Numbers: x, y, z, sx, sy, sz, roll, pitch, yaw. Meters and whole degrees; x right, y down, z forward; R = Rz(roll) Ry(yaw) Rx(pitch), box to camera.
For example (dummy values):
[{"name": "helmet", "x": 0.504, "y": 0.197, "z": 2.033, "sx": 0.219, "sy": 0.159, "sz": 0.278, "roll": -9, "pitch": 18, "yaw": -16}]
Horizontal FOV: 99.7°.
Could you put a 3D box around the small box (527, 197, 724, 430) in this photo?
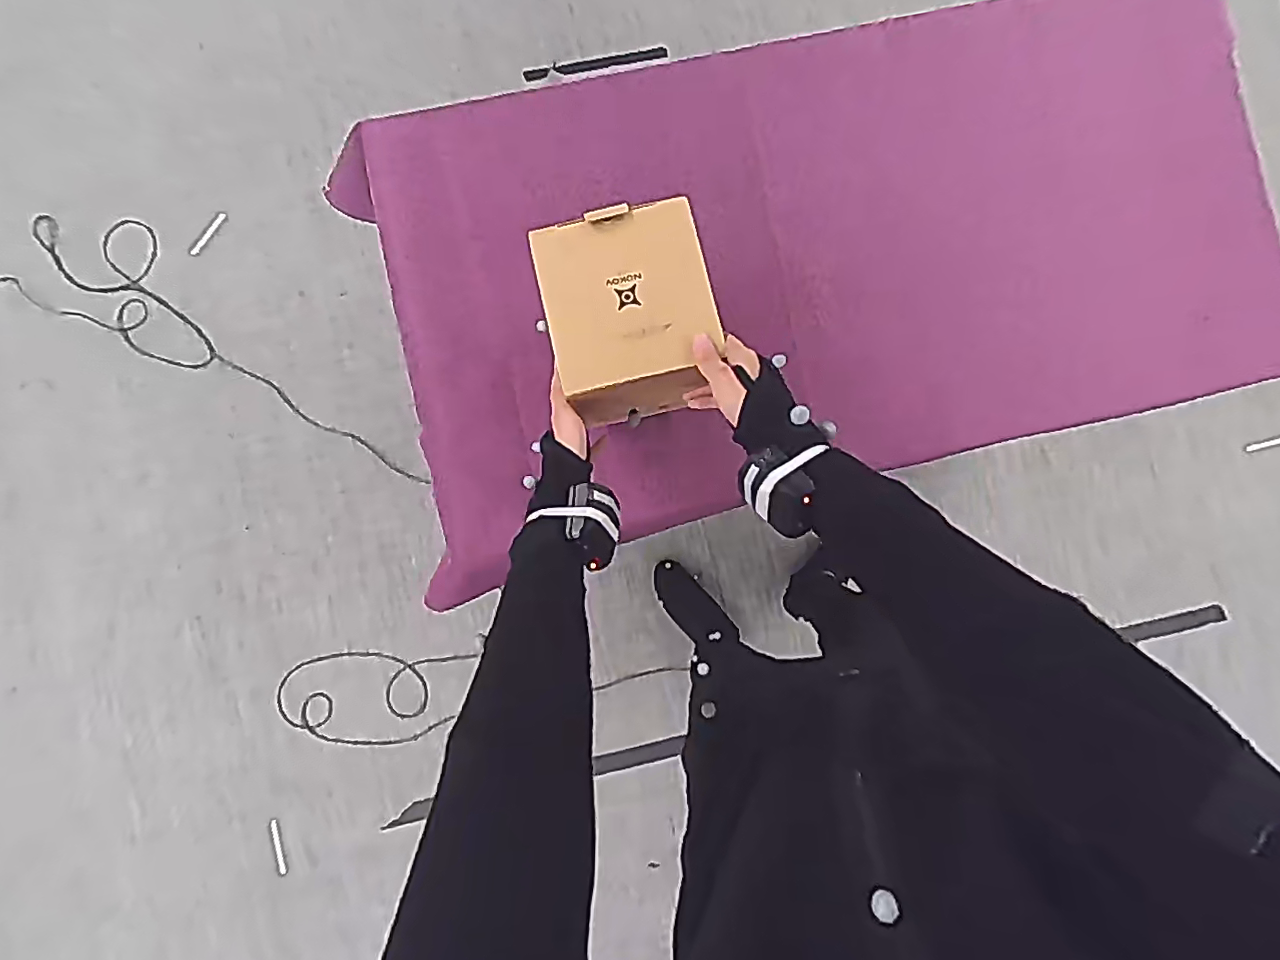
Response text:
[{"name": "small box", "x": -0.015, "y": -0.171, "z": 0.601, "sx": 0.168, "sy": 0.176, "sz": 0.179, "roll": -13, "pitch": 83, "yaw": 0}]
